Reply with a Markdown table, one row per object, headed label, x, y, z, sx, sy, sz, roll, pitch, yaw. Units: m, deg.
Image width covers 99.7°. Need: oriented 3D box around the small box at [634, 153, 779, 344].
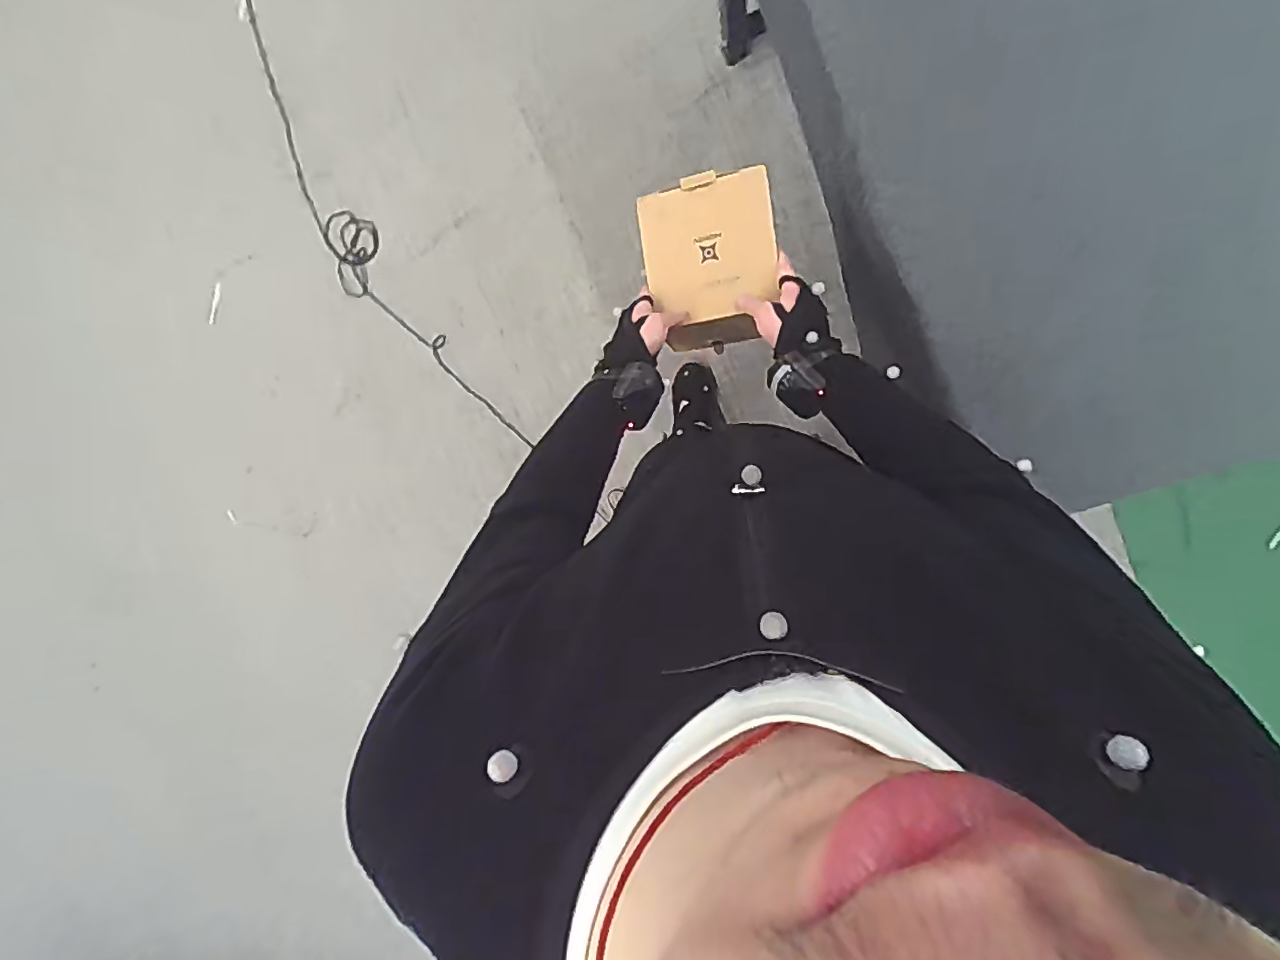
| label | x | y | z | sx | sy | sz | roll | pitch | yaw |
| --- | --- | --- | --- | --- | --- | --- | --- | --- | --- |
| small box | 0.097 | -0.296 | 0.732 | 0.168 | 0.176 | 0.179 | -5 | 92 | 15 |
